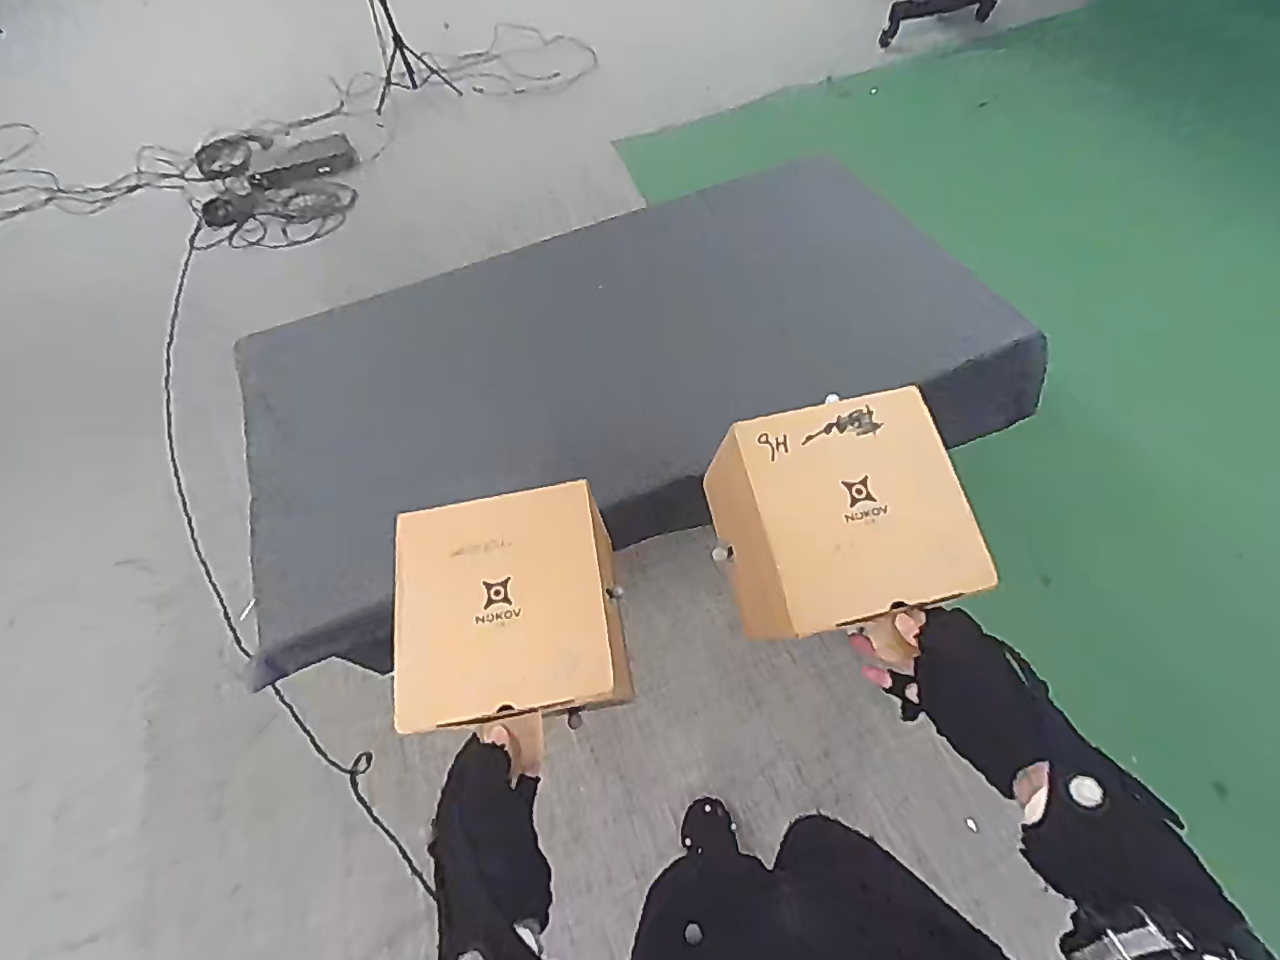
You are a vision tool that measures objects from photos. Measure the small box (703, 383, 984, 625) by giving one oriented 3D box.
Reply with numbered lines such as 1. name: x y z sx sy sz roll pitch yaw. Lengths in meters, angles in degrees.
1. small box: 0.169 0.033 0.513 0.168 0.176 0.179 -11 75 -7

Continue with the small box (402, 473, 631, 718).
1. small box: -0.105 0.117 0.509 0.168 0.176 0.179 -11 65 -2
